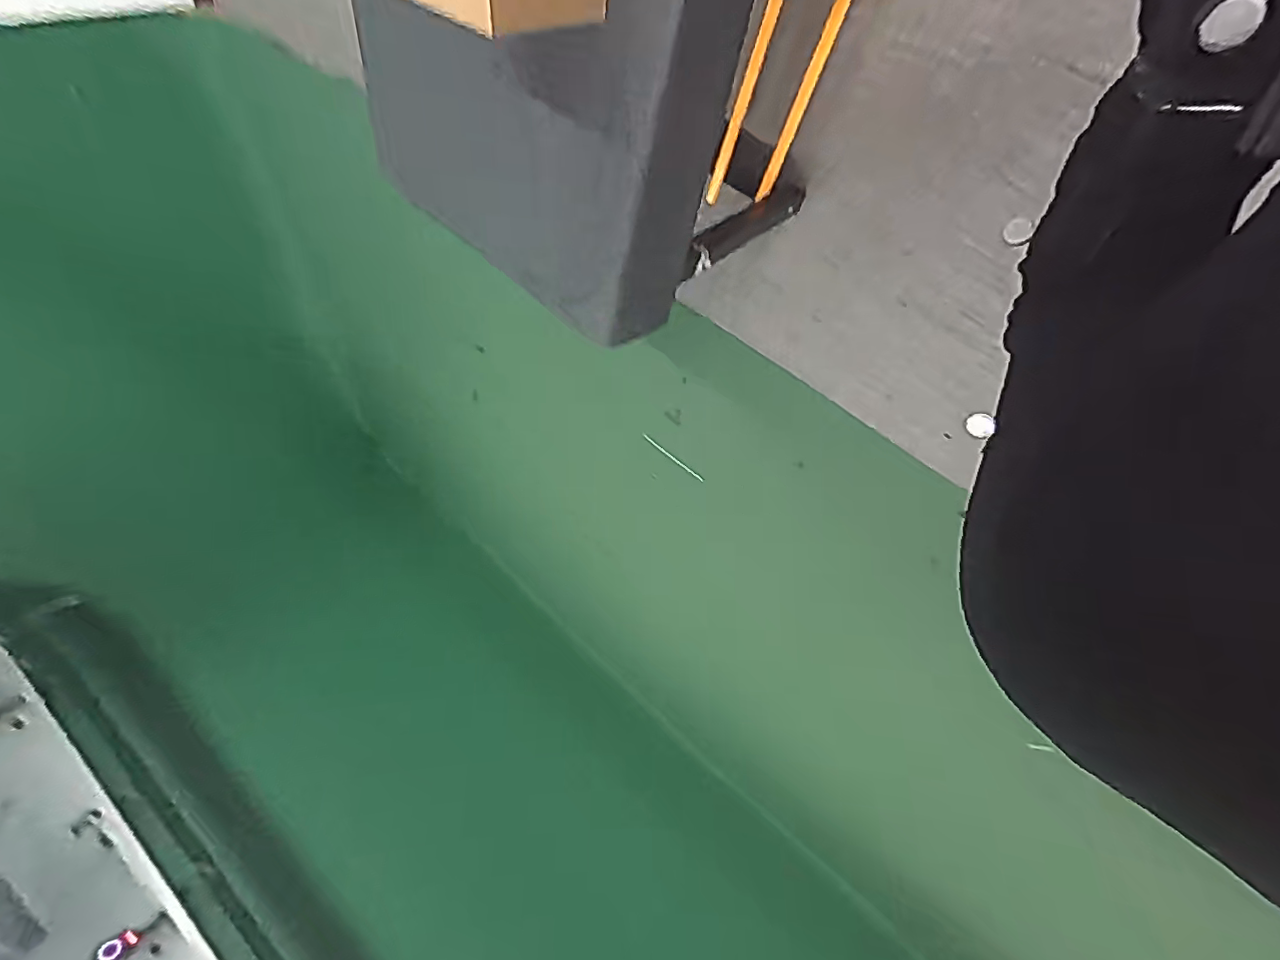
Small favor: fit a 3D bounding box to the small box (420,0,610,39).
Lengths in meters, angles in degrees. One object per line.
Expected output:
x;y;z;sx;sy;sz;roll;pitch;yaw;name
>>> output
-0.134;-0.578;0.535;0.168;0.176;0.179;38;146;18;small box
